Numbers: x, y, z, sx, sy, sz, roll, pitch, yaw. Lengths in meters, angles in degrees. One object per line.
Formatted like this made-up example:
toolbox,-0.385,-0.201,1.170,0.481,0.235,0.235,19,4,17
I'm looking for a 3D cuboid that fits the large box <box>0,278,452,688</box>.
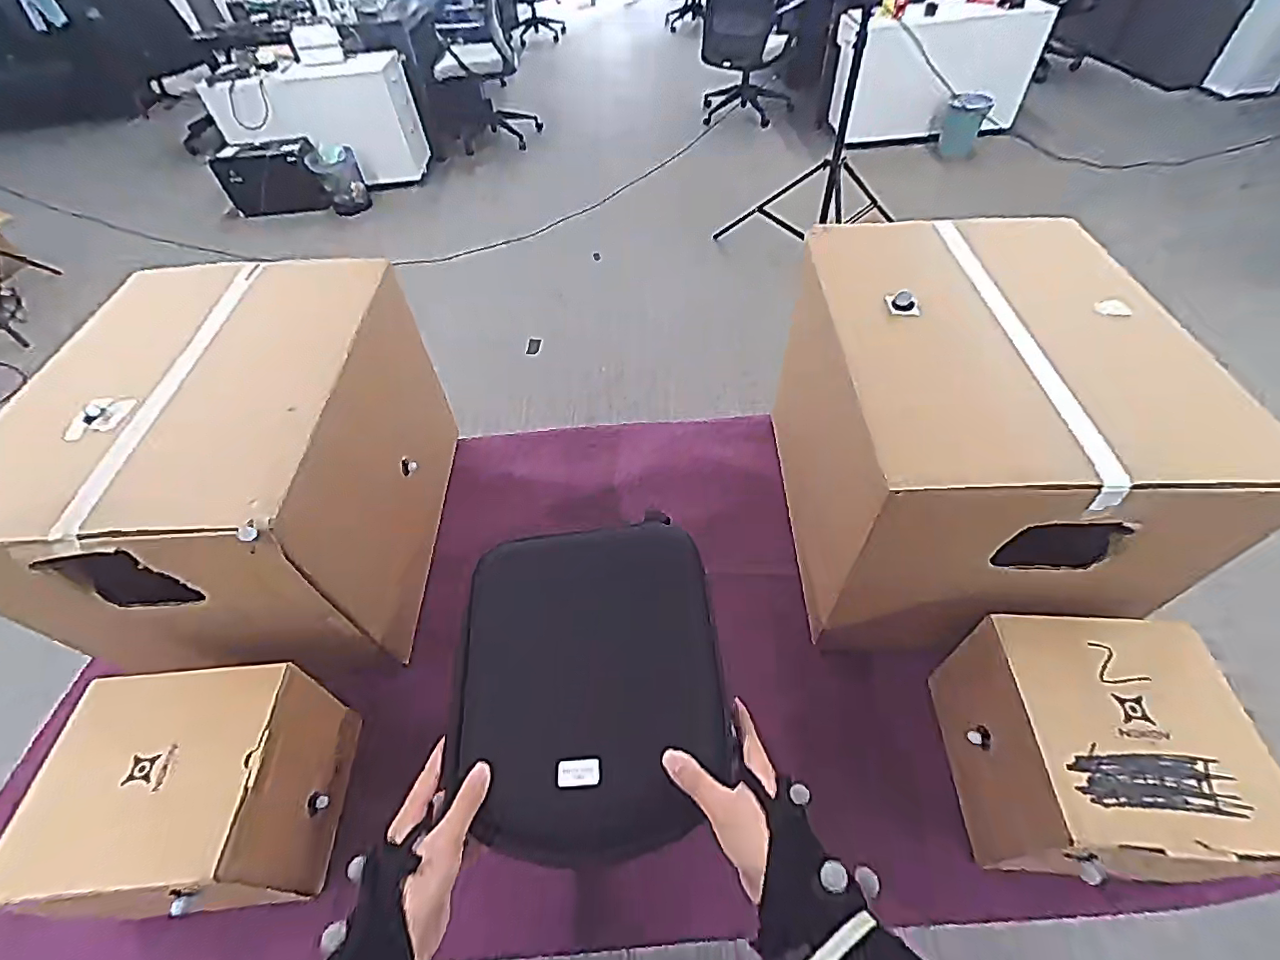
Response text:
large box,-0.450,0.002,0.671,0.320,0.320,0.408,-4,53,-1
